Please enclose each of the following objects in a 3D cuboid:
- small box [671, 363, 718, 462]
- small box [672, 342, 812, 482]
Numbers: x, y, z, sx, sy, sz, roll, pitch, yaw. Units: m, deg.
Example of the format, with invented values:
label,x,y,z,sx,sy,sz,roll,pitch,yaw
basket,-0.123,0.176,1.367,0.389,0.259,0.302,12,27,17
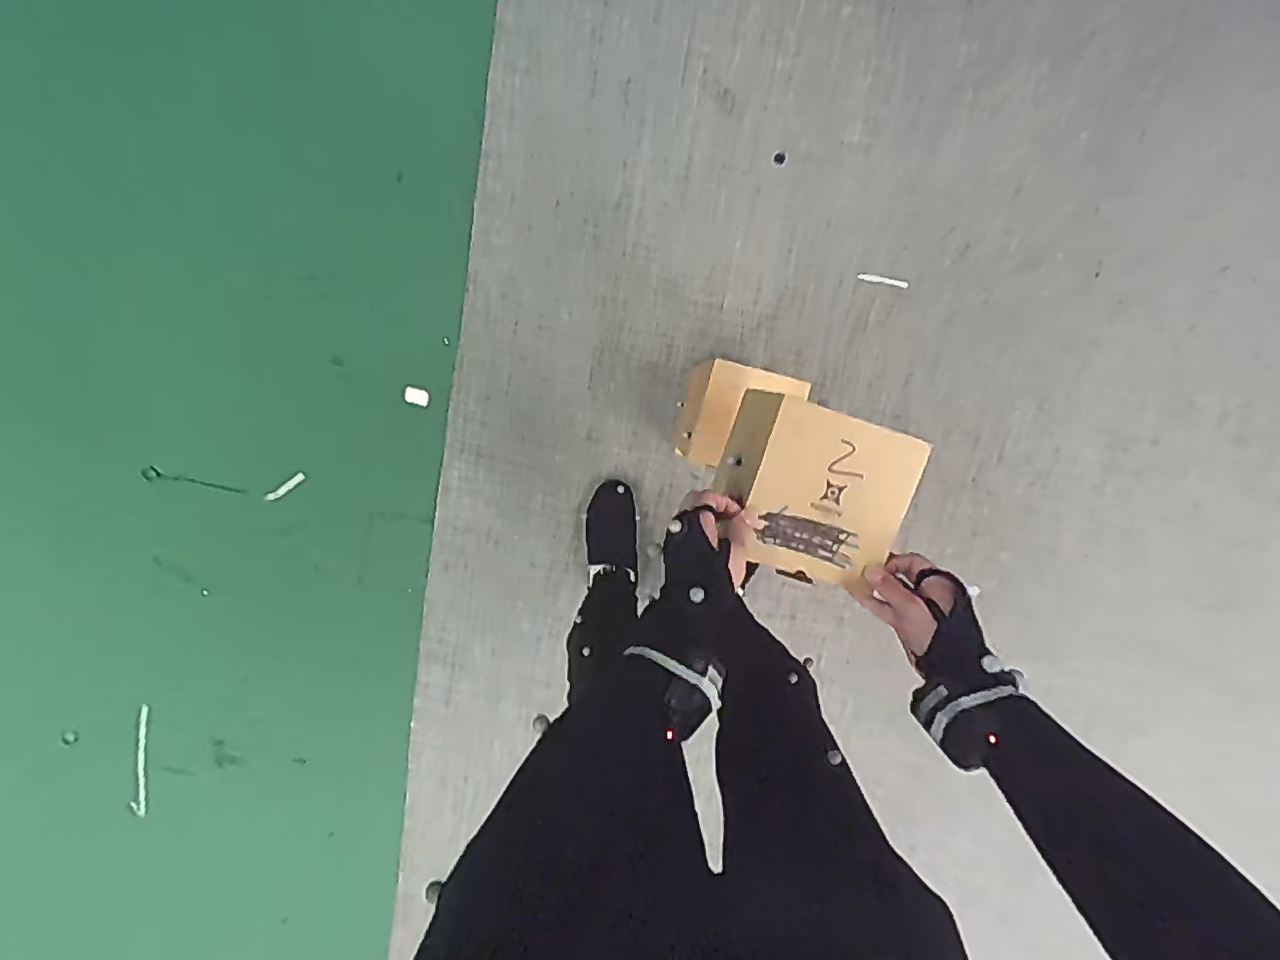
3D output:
label,x,y,z,sx,sy,sz,roll,pitch,yaw
small box,0.166,-0.136,1.125,0.168,0.176,0.179,15,100,-4
small box,0.170,-0.124,0.970,0.168,0.176,0.179,-43,98,9
